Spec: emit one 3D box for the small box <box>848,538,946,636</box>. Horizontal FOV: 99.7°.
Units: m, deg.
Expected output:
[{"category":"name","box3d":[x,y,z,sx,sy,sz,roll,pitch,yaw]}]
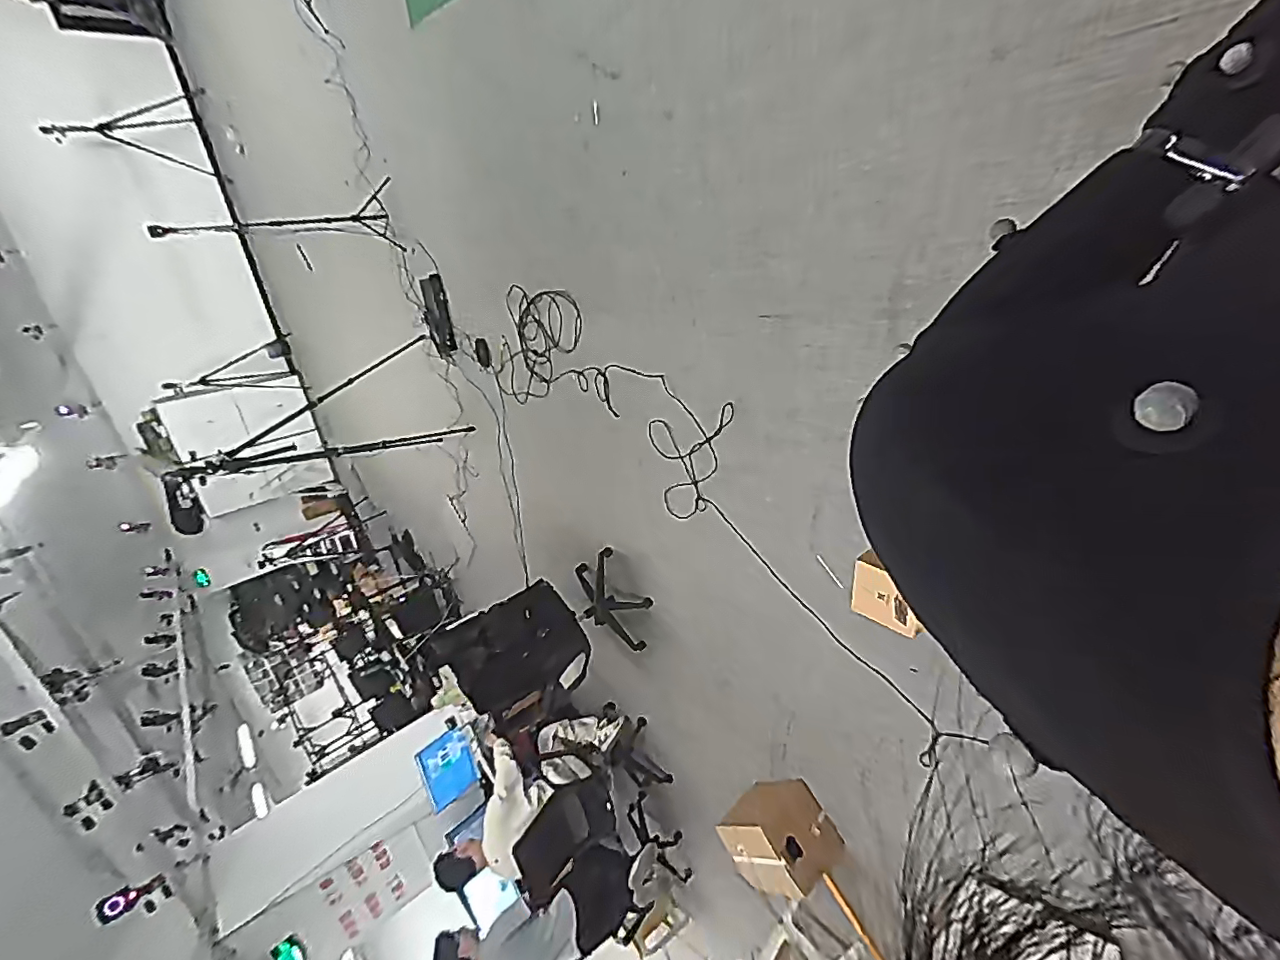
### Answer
[{"category":"small box","box3d":[0.684,0.275,1.440,0.179,0.176,0.168,23,127,45]}]
